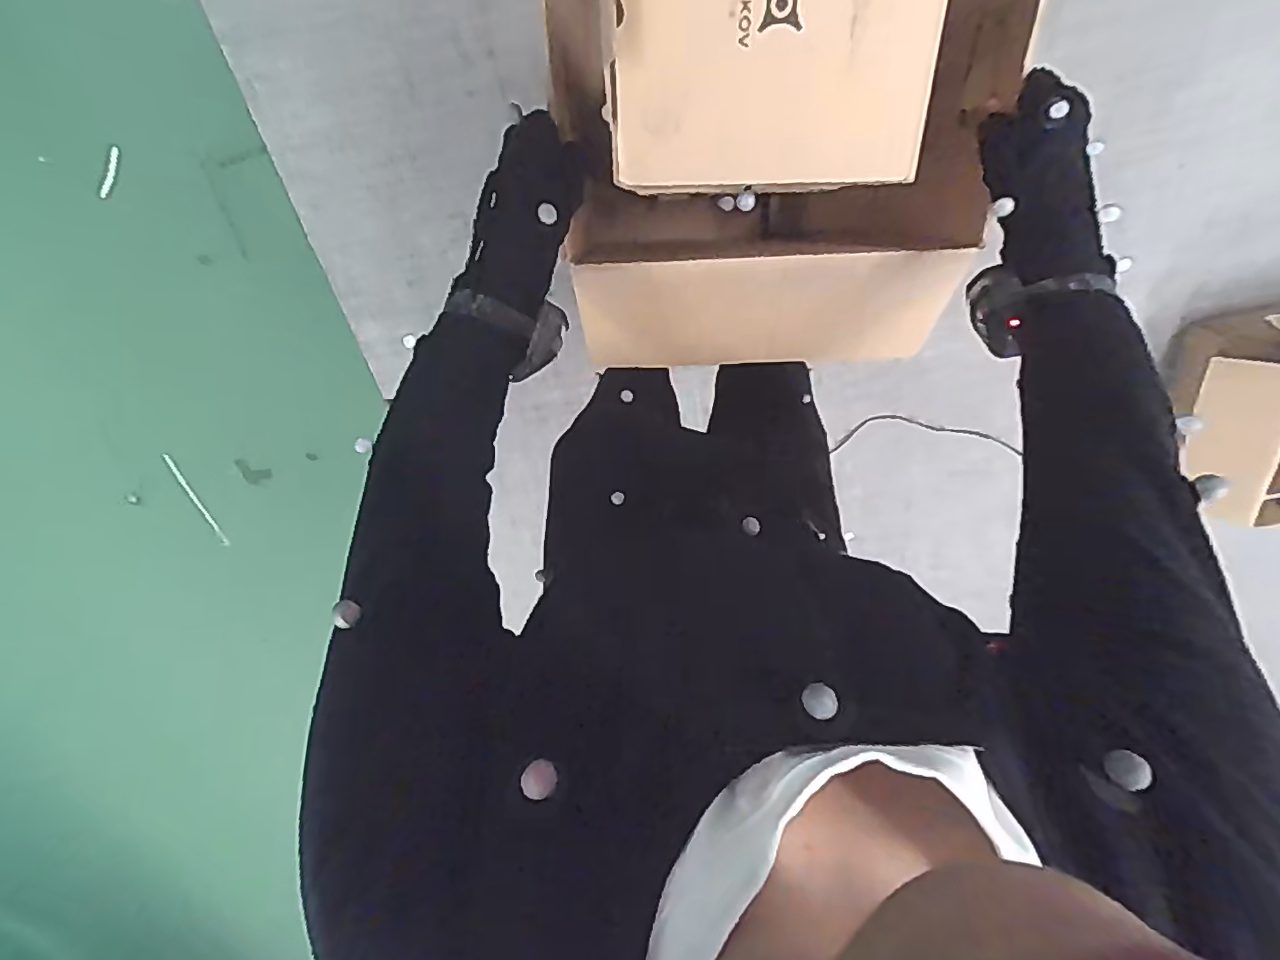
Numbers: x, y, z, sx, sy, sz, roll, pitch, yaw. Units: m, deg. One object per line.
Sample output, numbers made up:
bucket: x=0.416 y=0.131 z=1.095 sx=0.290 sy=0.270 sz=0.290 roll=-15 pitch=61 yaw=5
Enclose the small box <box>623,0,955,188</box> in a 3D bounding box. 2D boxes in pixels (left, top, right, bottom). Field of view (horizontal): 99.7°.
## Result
small box: x=0.083 y=-0.289 z=0.357 sx=0.179 sy=0.176 sz=0.168 roll=0 pitch=119 yaw=4
